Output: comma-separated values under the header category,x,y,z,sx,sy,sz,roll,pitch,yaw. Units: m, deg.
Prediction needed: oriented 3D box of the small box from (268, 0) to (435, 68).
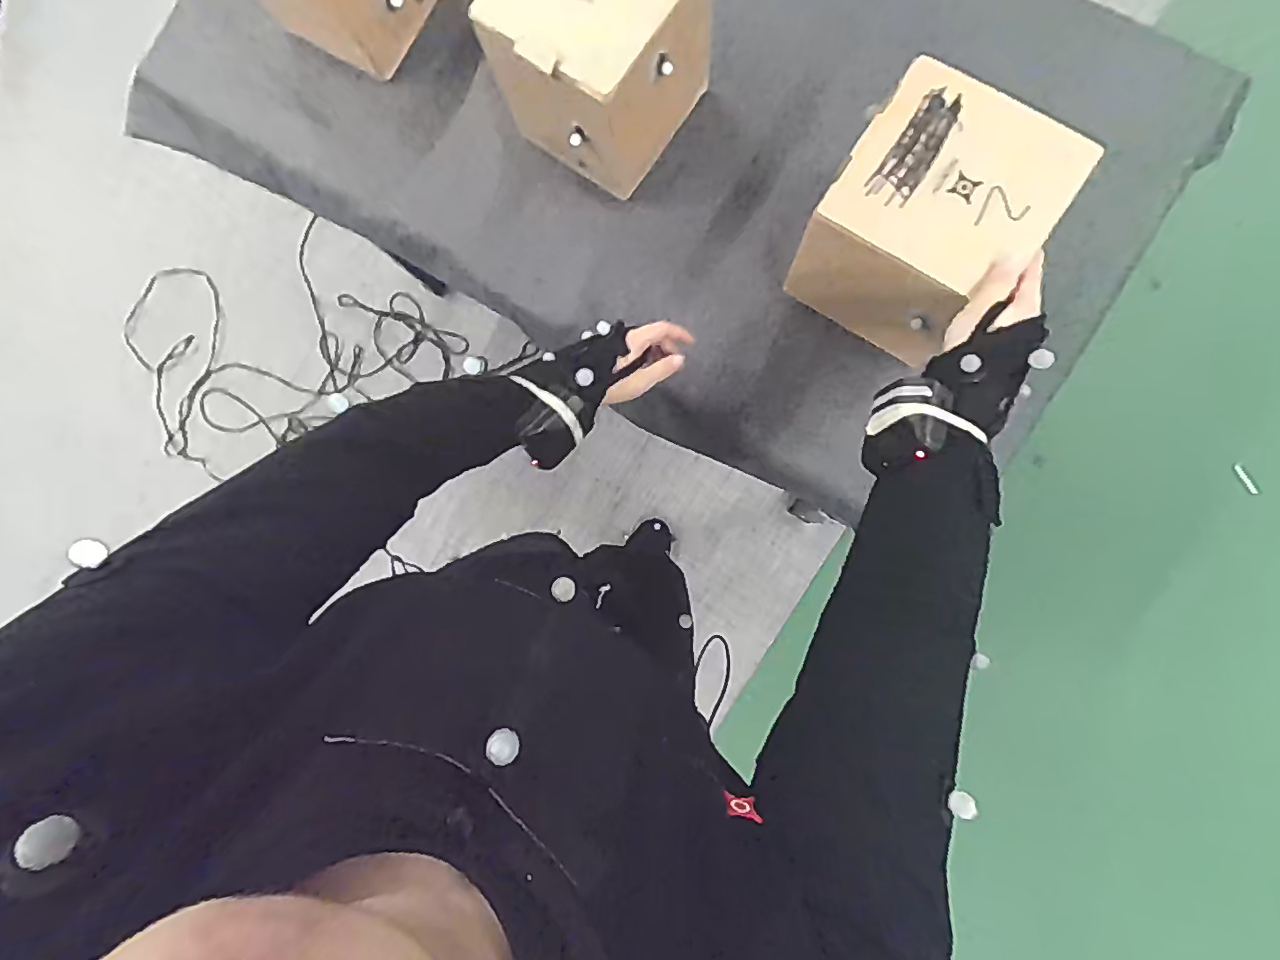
category,x,y,z,sx,sy,sz,roll,pitch,yaw
small box,-0.361,-0.630,0.618,0.179,0.176,0.168,30,90,6

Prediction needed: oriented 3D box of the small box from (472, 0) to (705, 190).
category,x,y,z,sx,sy,sz,roll,pitch,yaw
small box,-0.039,-0.459,0.578,0.168,0.176,0.179,36,90,5
